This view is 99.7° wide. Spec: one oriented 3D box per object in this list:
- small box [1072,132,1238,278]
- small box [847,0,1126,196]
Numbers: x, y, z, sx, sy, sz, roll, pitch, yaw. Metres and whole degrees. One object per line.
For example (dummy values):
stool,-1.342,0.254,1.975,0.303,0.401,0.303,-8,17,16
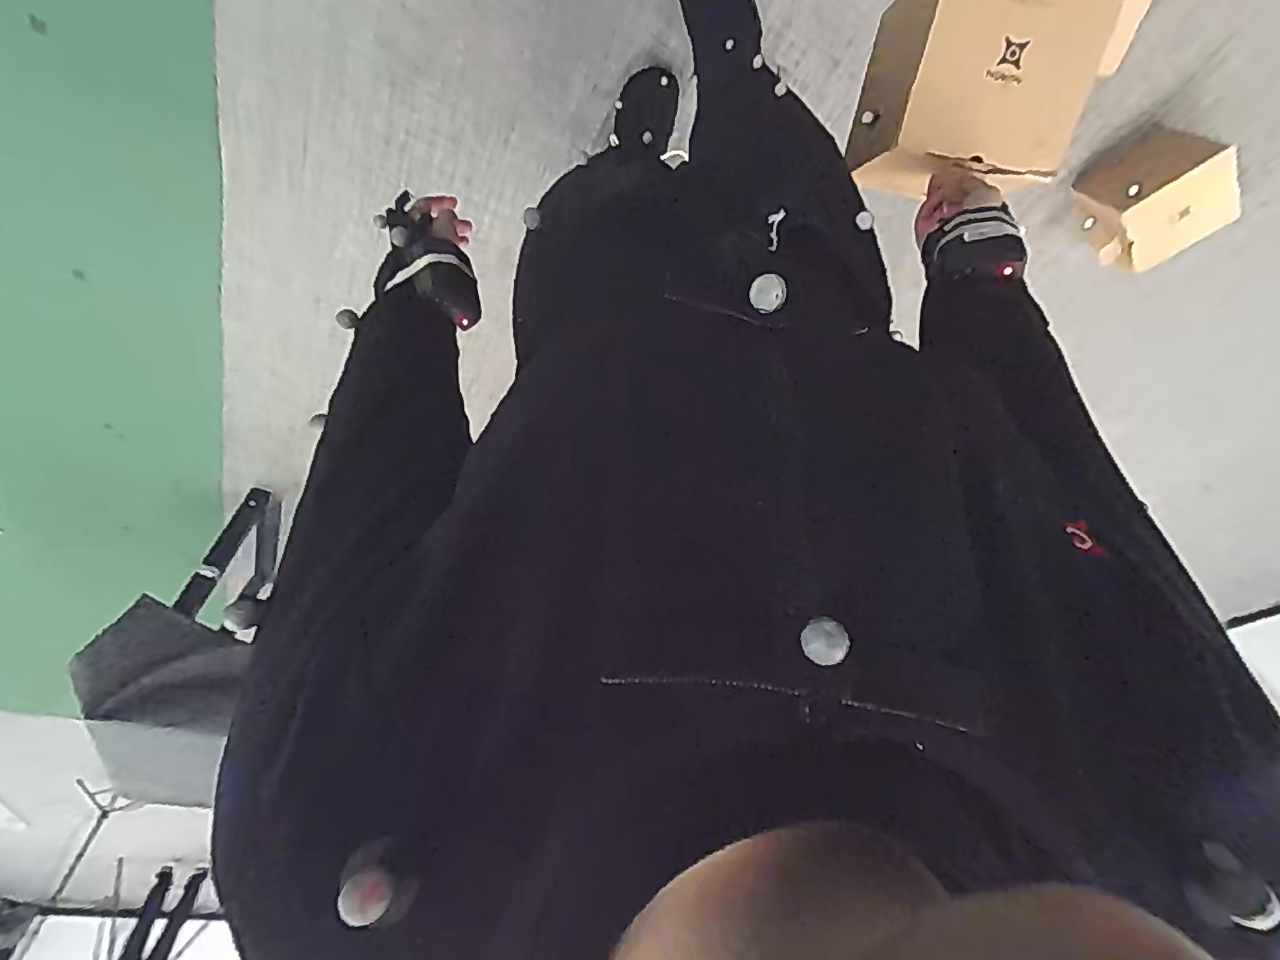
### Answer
small box,1.024,-0.553,1.084,0.179,0.176,0.168,-33,127,27
small box,0.336,-0.412,0.560,0.168,0.176,0.179,9,108,-3
